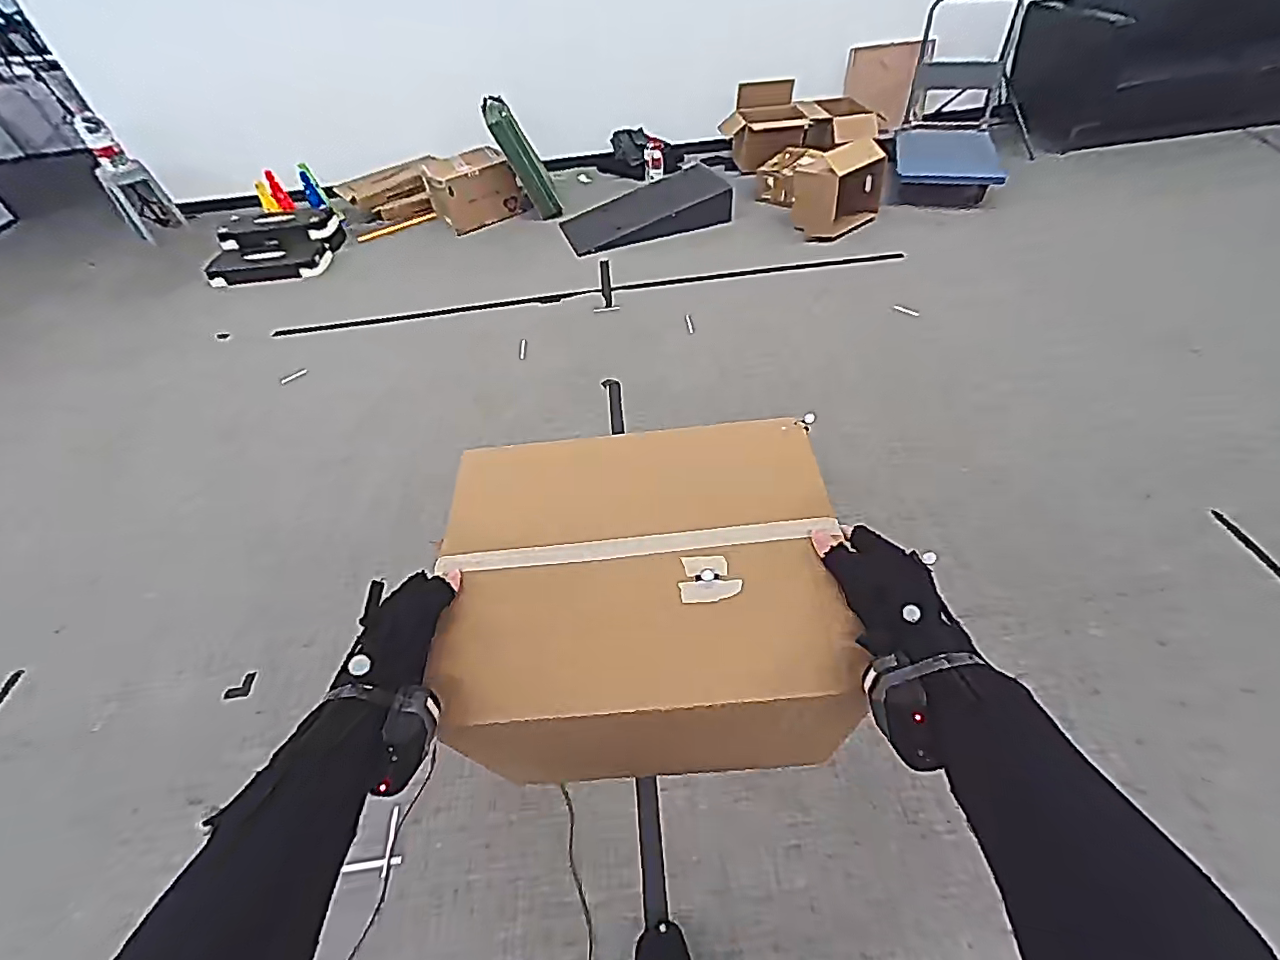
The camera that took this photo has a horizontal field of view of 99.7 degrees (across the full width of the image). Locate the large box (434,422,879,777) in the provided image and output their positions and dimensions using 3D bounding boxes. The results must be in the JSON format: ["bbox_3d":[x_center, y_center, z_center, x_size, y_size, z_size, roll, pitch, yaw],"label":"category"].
[{"bbox_3d":[0.014,0.160,0.679,0.408,0.320,0.320,-5,53,2],"label":"large box"}]
